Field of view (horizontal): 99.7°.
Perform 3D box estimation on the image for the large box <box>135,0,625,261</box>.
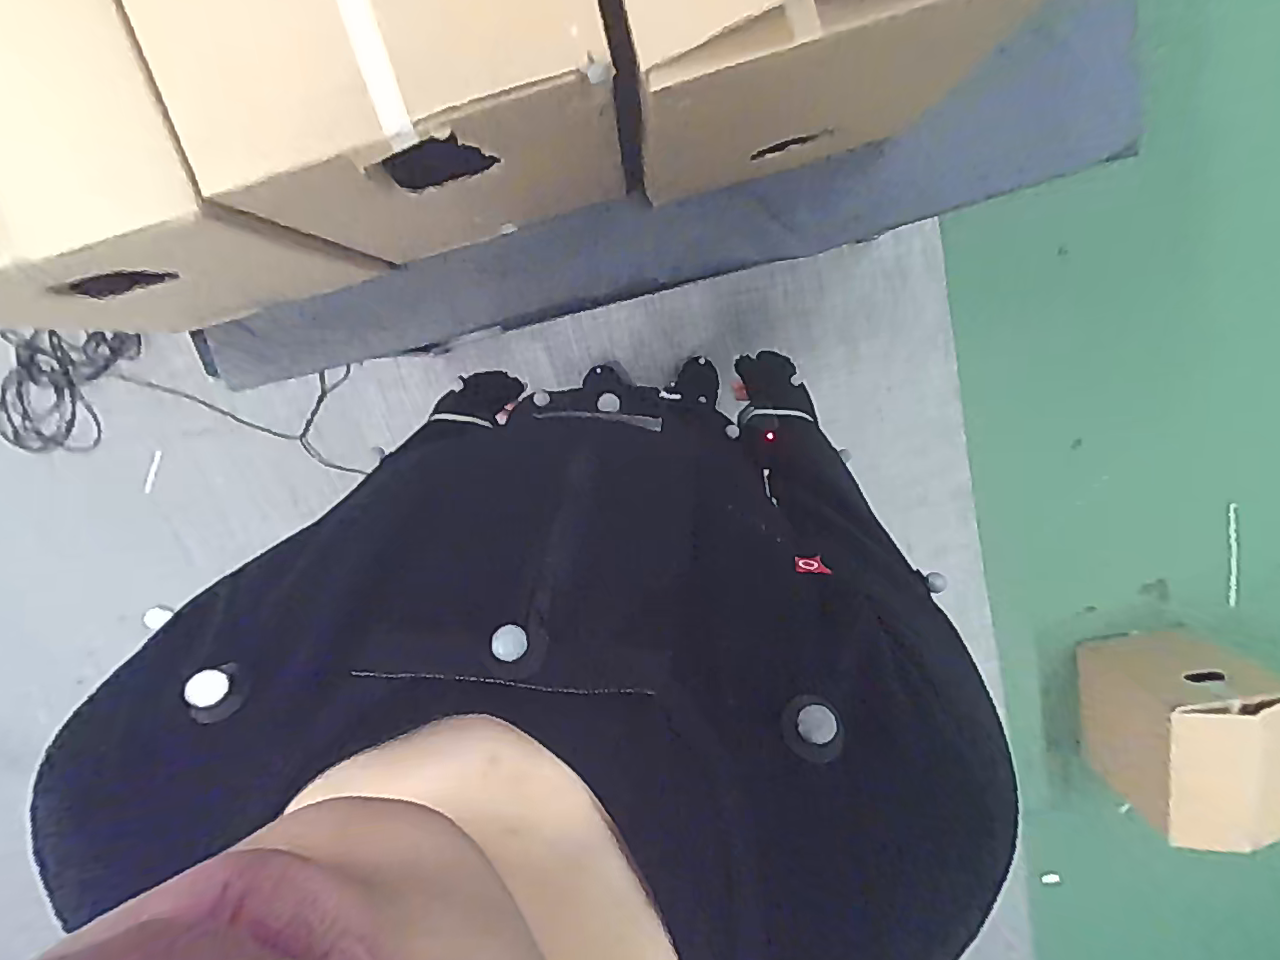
[{"bbox_3d":[-0.218,-0.465,0.489,0.320,0.320,0.408,-15,103,5],"label":"large box"}]
